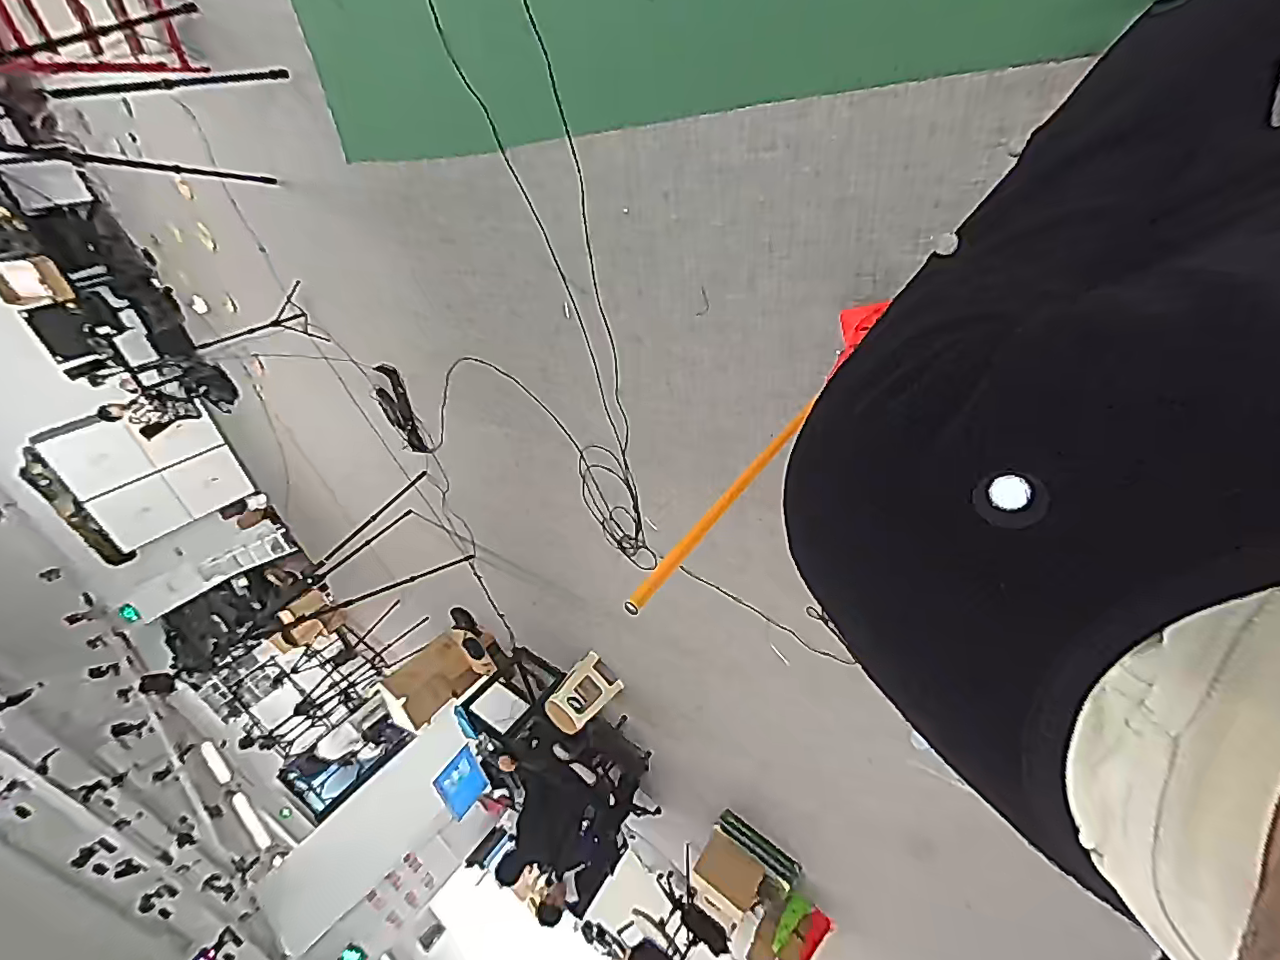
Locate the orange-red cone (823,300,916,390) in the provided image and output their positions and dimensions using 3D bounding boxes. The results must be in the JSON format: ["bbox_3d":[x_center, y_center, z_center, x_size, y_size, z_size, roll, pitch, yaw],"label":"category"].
[{"bbox_3d":[0.584,-0.328,1.462,0.199,0.360,0.198,4,122,45],"label":"orange-red cone"}]
